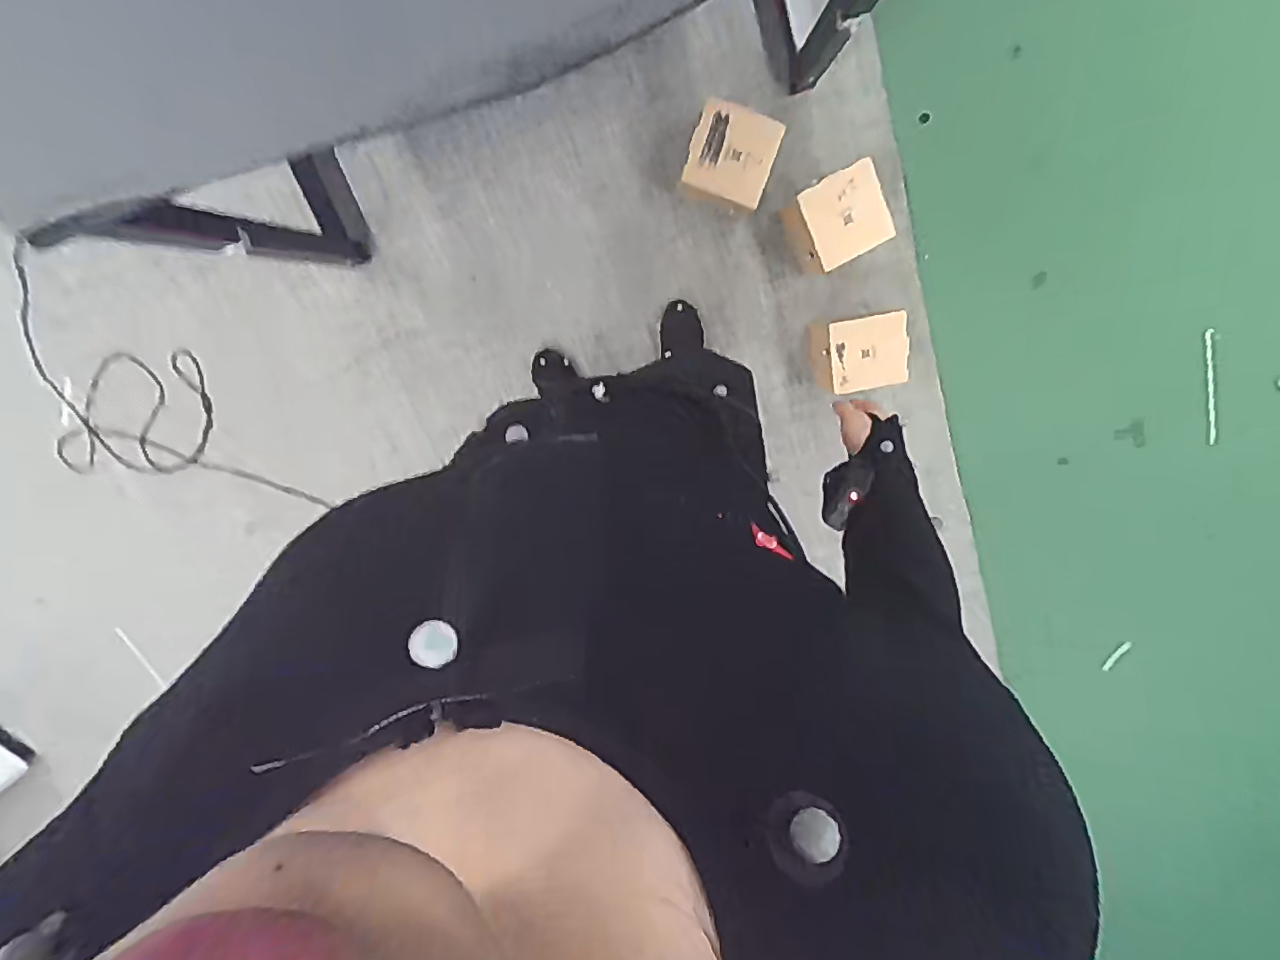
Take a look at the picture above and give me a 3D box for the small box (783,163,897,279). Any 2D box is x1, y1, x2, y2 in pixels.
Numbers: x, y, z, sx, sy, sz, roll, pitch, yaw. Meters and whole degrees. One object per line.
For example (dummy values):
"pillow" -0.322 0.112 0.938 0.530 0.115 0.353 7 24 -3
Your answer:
"small box" 0.445 -0.574 1.223 0.168 0.176 0.179 -26 106 8

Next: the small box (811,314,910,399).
"small box" 0.529 -0.303 1.309 0.179 0.176 0.168 -9 108 4
